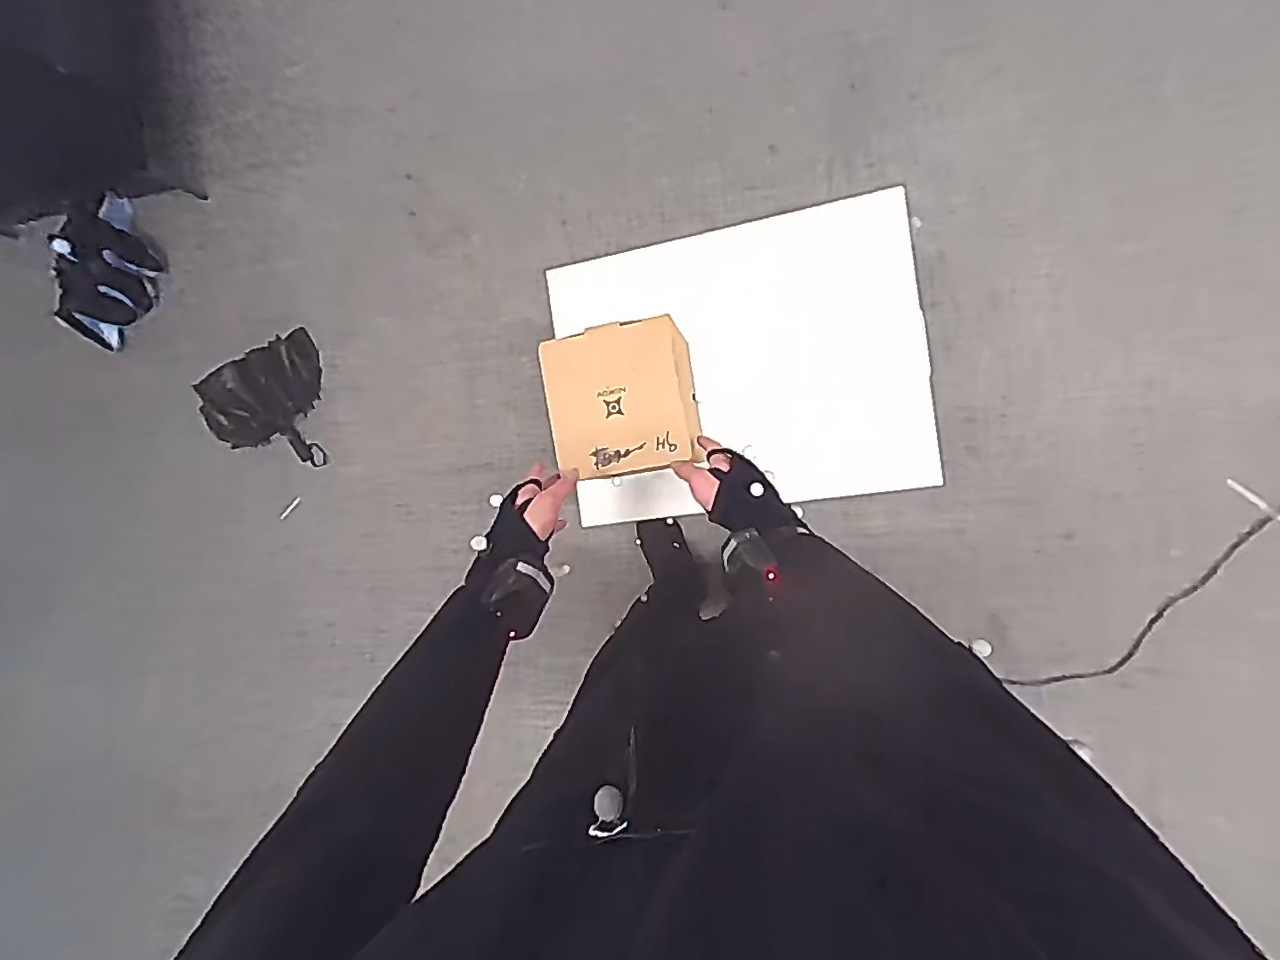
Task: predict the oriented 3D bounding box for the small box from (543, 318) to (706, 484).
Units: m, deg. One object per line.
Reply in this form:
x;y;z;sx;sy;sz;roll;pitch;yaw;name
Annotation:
-0.011;-0.094;0.720;0.168;0.176;0.179;-10;90;13;small box
